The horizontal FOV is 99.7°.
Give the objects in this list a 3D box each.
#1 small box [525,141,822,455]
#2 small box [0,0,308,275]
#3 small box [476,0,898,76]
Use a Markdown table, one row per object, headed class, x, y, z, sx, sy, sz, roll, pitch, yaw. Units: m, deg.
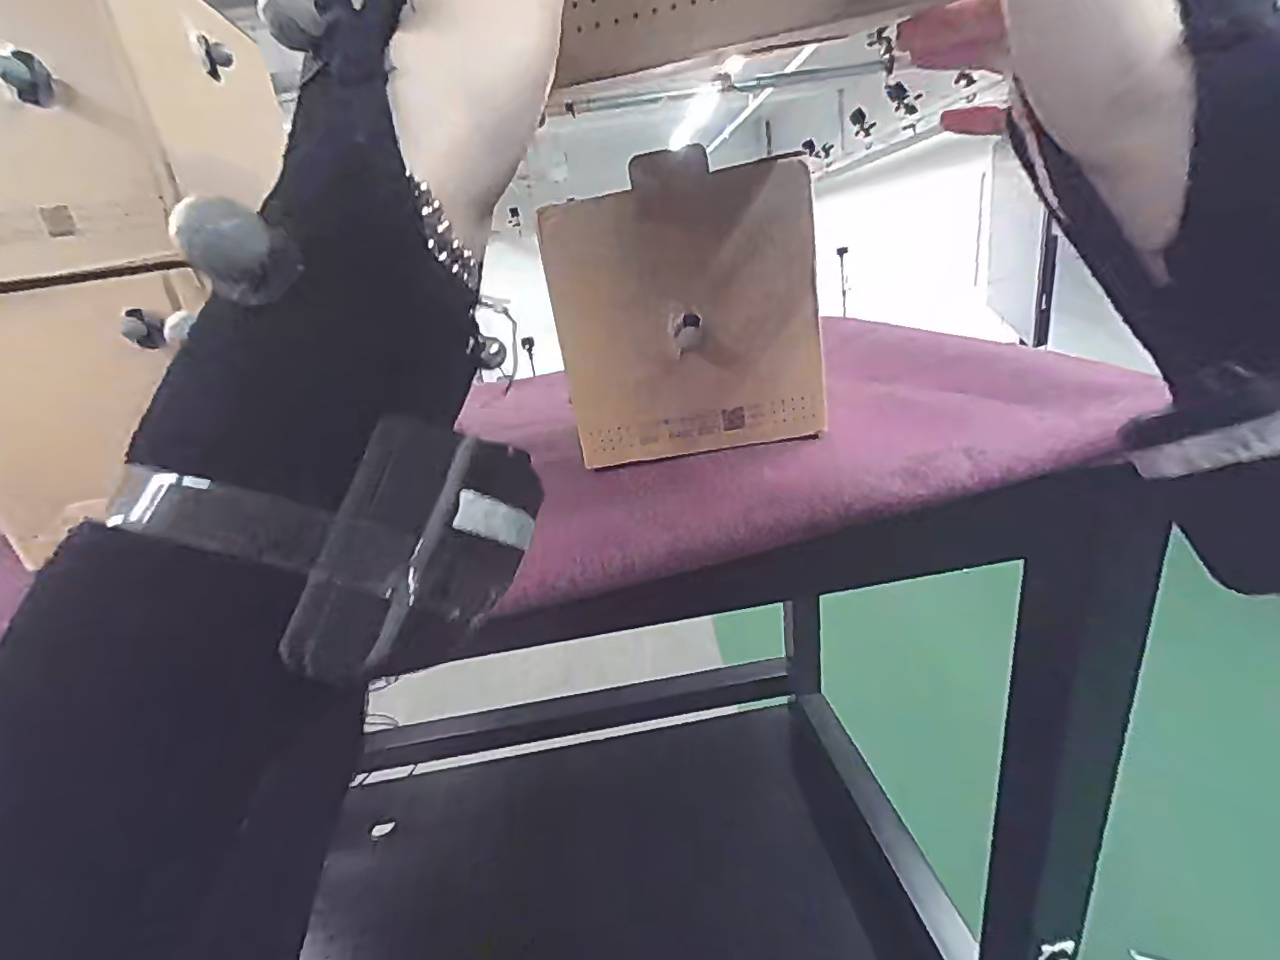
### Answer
| class | x | y | z | sx | sy | sz | roll | pitch | yaw |
| --- | --- | --- | --- | --- | --- | --- | --- | --- | --- |
| small box | 0.030 | -0.123 | 0.407 | 0.168 | 0.176 | 0.179 | -9 | 19 | 5 |
| small box | -0.342 | -0.209 | 0.335 | 0.168 | 0.176 | 0.179 | -9 | 18 | -5 |
| small box | 0.020 | -0.258 | 0.189 | 0.179 | 0.176 | 0.168 | -8 | 35 | 6 |
